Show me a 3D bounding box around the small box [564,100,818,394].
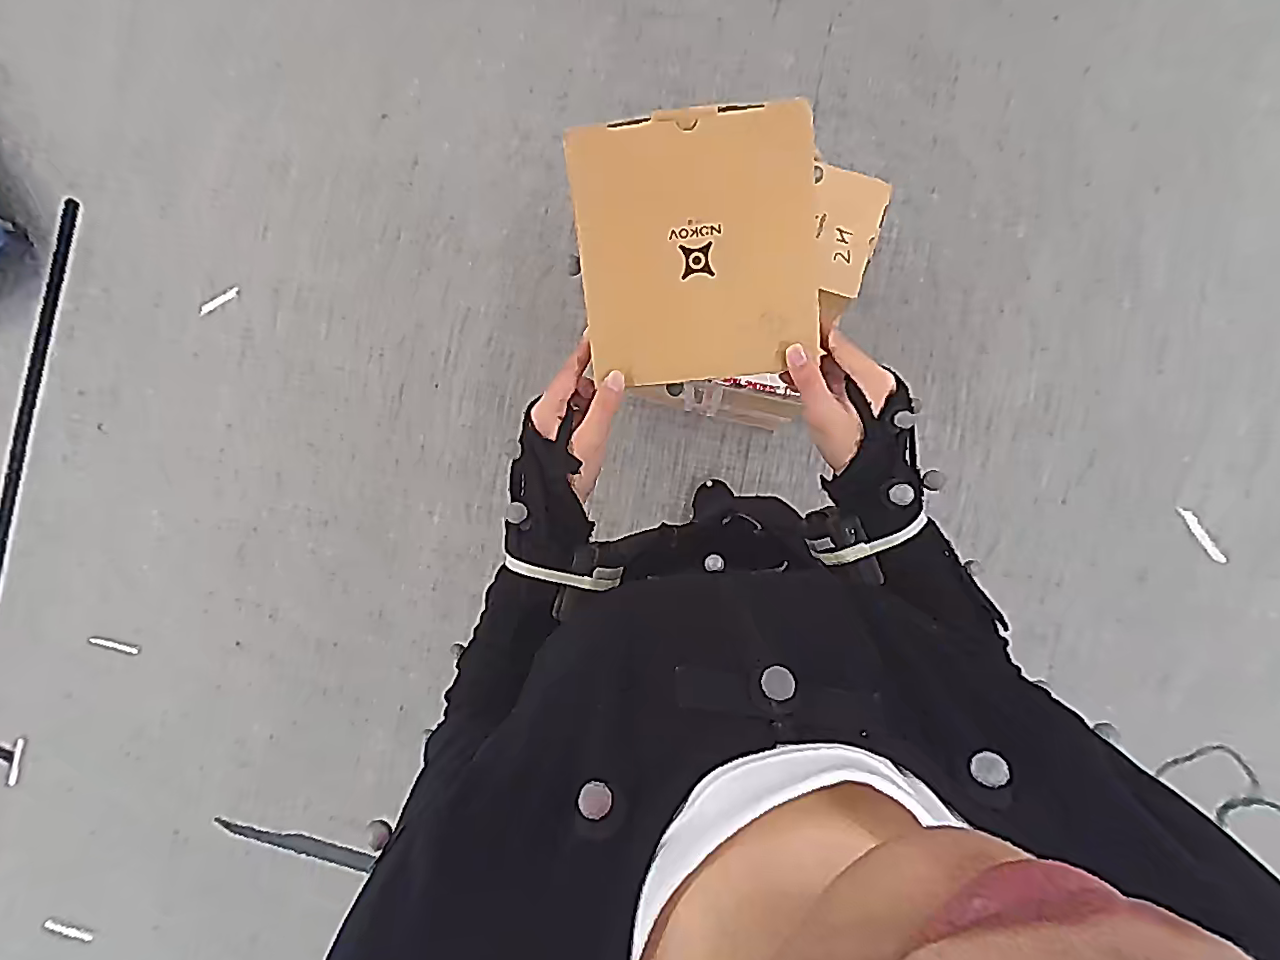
[{"bbox_3d":[0.042,-0.174,0.453,0.168,0.176,0.179,-7,102,4],"label":"small box"}]

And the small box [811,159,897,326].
[{"bbox_3d":[0.246,-0.349,0.816,0.179,0.176,0.168,18,93,4],"label":"small box"}]
